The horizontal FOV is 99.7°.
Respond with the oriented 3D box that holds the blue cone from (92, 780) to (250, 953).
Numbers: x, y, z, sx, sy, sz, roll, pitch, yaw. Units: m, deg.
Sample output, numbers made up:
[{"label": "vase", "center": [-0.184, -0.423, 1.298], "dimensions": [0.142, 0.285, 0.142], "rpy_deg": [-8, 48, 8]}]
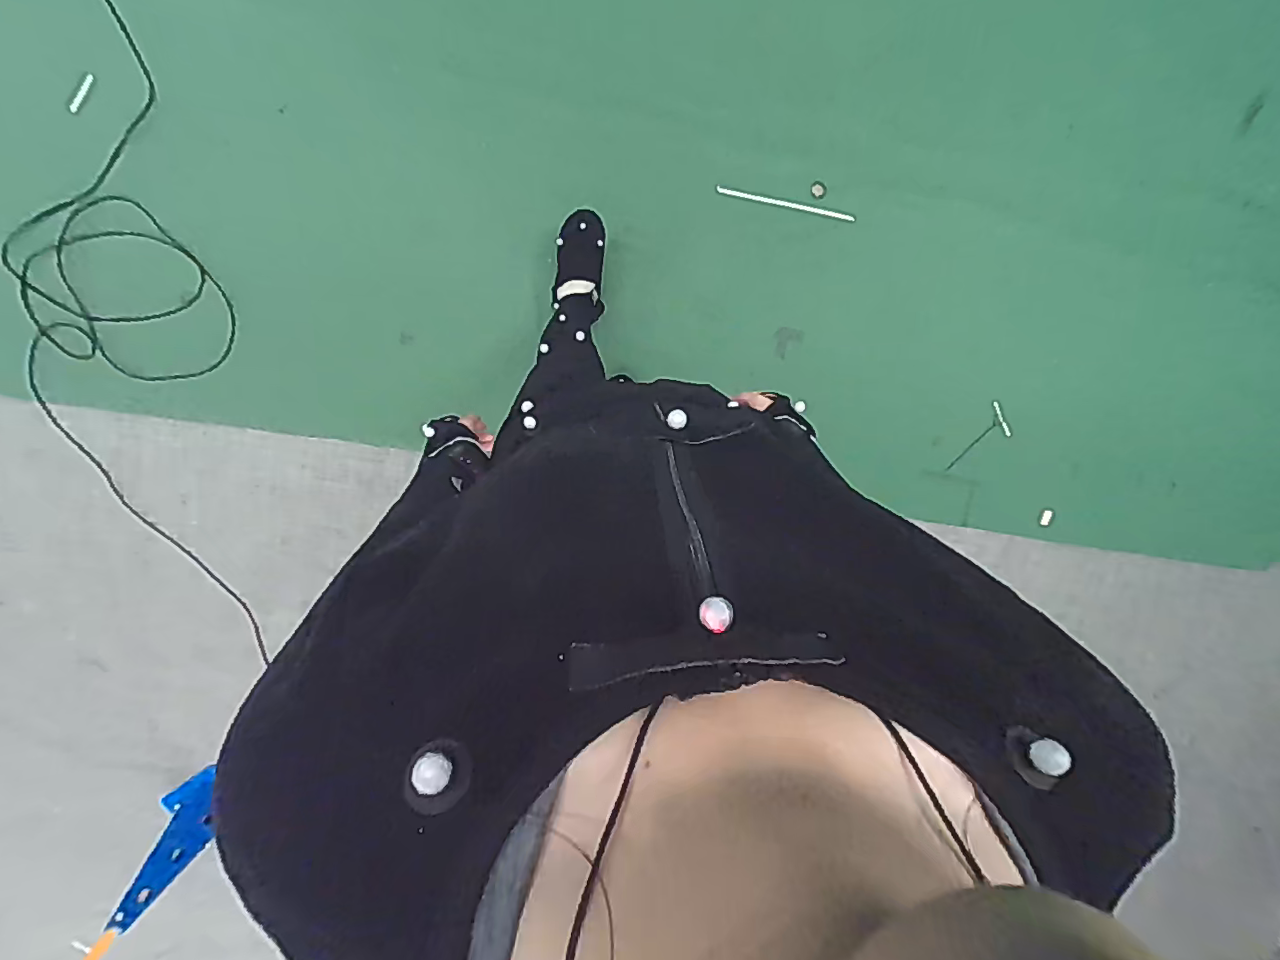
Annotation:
[{"label": "blue cone", "center": [-1.228, 1.008, 1.396], "dimensions": [0.193, 0.380, 0.192], "rpy_deg": [-35, 106, 4]}]
